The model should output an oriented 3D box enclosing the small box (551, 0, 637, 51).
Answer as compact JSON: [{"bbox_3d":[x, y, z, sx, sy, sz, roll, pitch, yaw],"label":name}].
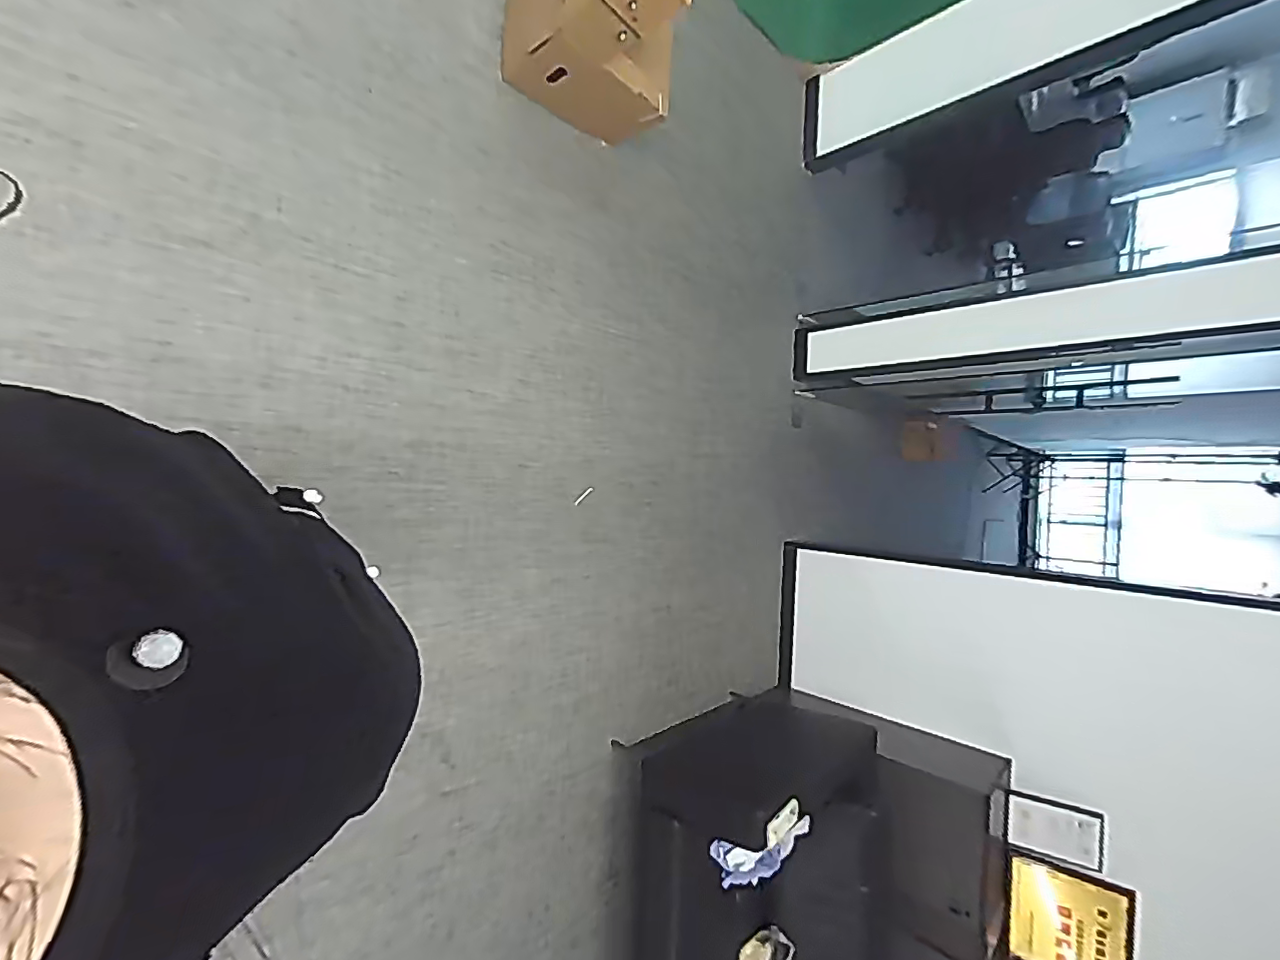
[{"bbox_3d":[-0.118,-1.320,1.470,0.179,0.176,0.168,5,89,-47],"label":"small box"}]

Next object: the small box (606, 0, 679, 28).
[{"bbox_3d":[0.002,-1.310,1.359,0.168,0.176,0.179,6,90,-47],"label":"small box"}]
